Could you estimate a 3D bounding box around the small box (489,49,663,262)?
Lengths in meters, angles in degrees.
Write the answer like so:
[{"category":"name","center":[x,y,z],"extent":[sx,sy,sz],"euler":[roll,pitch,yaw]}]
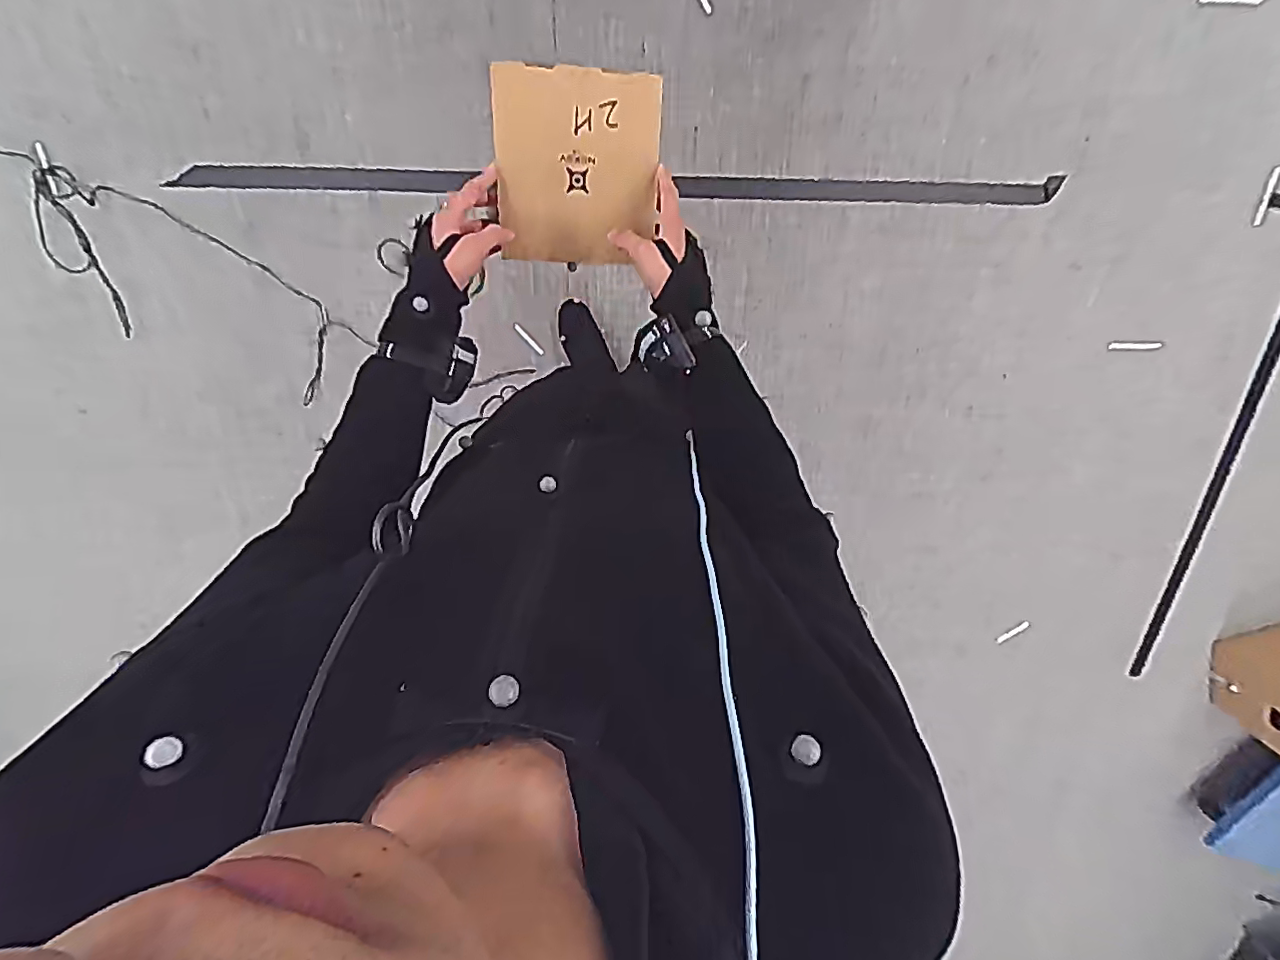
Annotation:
[{"category":"small box","center":[-0.073,-0.351,0.612],"extent":[0.168,0.176,0.179],"euler":[-1,116,-8]}]
